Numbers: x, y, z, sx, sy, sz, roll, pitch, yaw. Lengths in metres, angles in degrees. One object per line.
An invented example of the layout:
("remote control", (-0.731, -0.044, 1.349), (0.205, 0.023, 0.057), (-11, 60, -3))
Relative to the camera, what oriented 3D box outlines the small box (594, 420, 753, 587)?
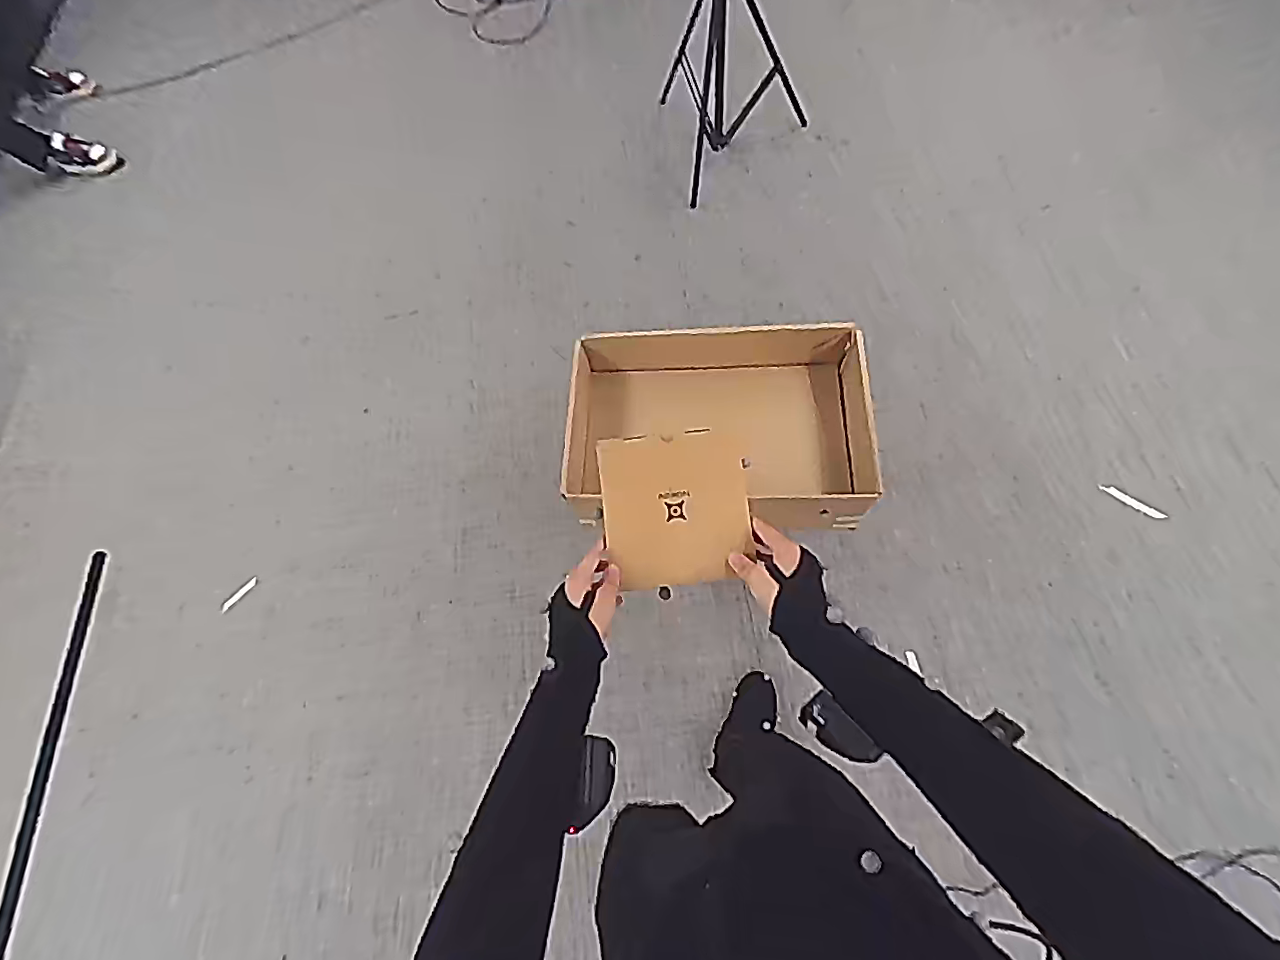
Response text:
("small box", (0.038, 0.039, 0.684), (0.168, 0.176, 0.179), (-6, 78, 0))
